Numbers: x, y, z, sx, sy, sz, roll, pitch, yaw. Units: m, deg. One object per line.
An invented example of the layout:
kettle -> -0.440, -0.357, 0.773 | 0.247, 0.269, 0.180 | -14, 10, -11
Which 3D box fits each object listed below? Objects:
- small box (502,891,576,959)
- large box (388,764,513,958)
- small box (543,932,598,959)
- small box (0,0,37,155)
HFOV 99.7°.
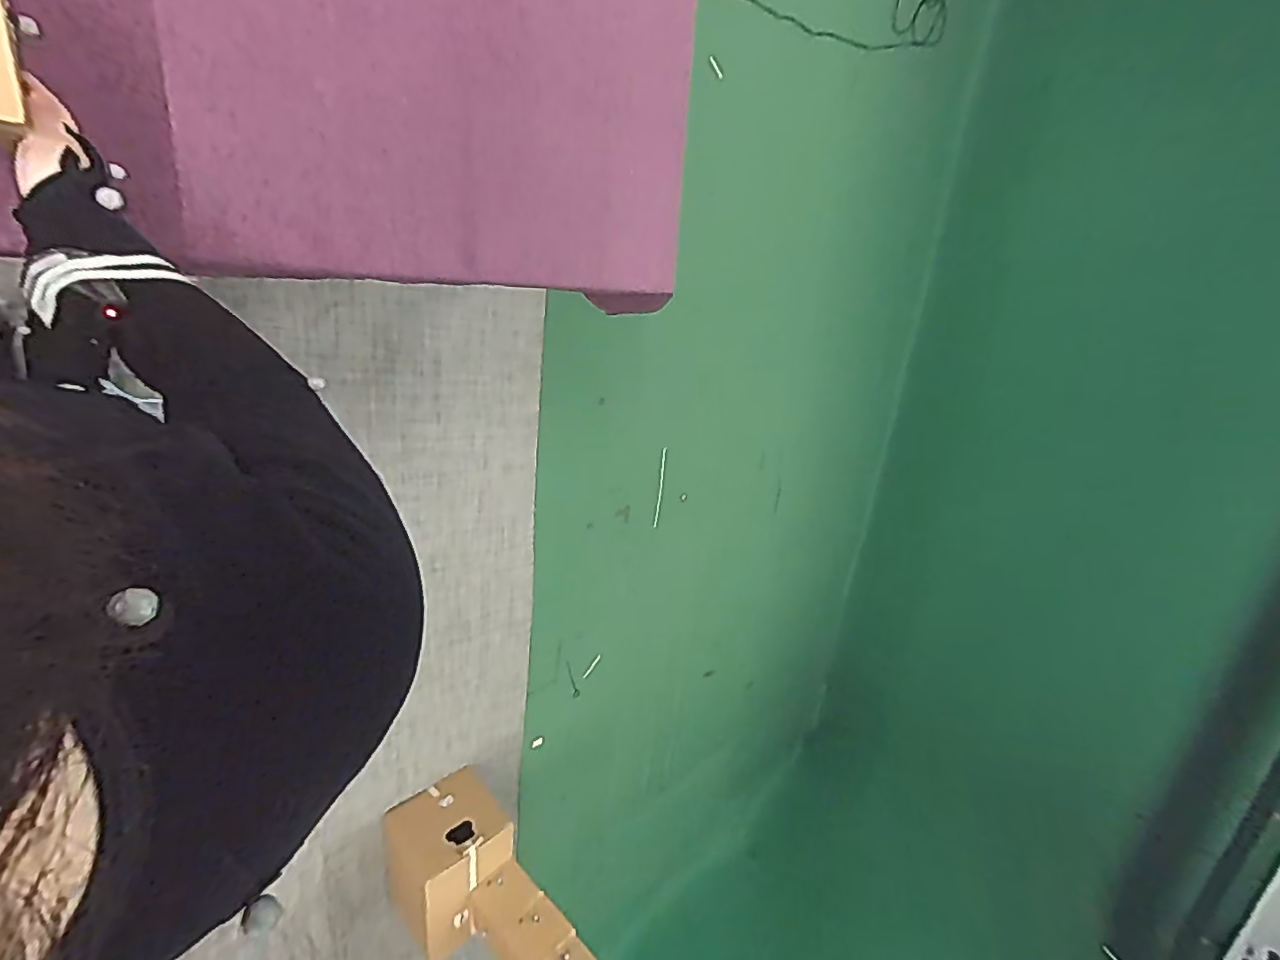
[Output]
small box -> -0.324, 1.475, 1.722 | 0.168, 0.176, 0.179 | -15, 116, -46
large box -> -0.665, 1.320, 1.911 | 0.320, 0.320, 0.408 | -13, 117, -44
small box -> -0.209, 1.527, 1.618 | 0.168, 0.176, 0.179 | -13, 114, -47
small box -> -0.534, -0.339, 0.354 | 0.168, 0.176, 0.179 | -11, 115, -43
